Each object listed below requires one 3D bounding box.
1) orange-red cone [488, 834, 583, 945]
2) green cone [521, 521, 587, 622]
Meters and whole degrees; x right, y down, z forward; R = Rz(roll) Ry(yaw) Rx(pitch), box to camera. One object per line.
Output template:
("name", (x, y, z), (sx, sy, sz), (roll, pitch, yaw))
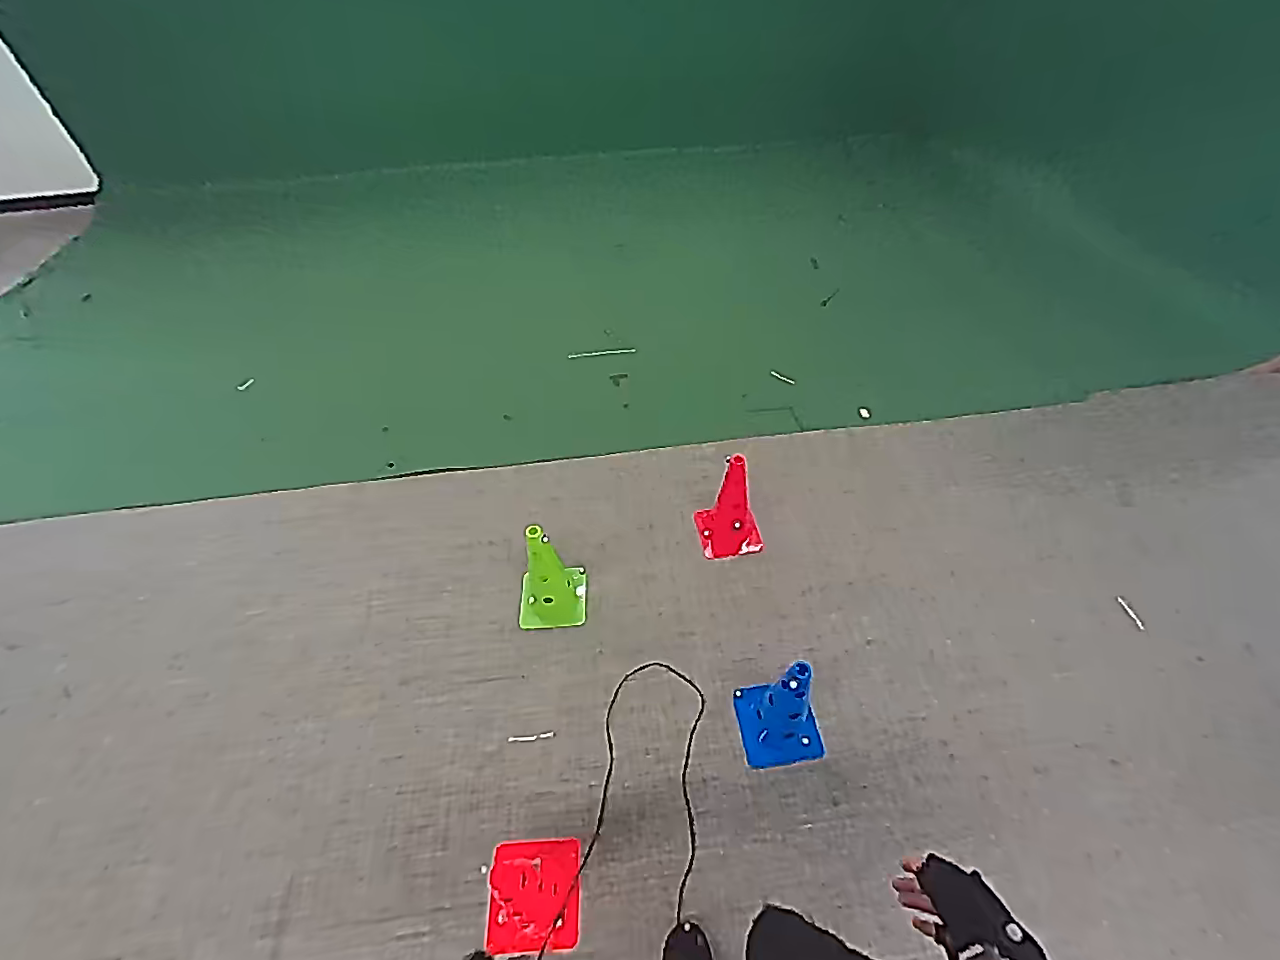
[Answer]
("orange-red cone", (-0.232, 0.788, 1.072), (0.198, 0.360, 0.199), (-2, 47, 0))
("green cone", (-0.274, 0.234, 1.548), (0.200, 0.368, 0.202), (-5, 50, -1))
